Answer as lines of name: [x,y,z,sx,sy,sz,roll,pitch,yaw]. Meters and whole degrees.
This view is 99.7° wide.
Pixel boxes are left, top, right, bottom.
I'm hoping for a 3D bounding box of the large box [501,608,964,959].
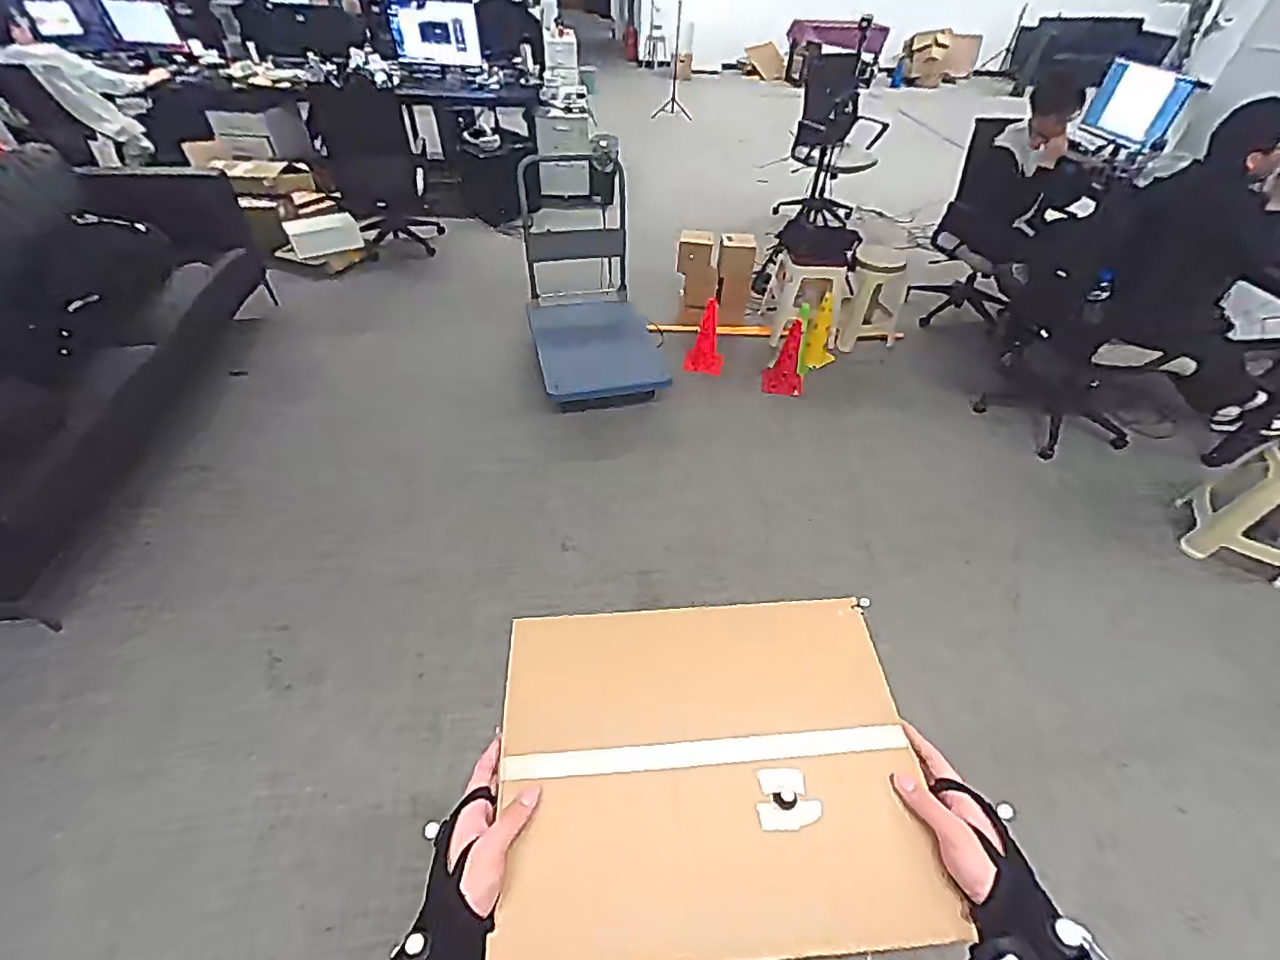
large box: [0.066,0.381,0.656,0.408,0.320,0.320,-3,50,-3]
